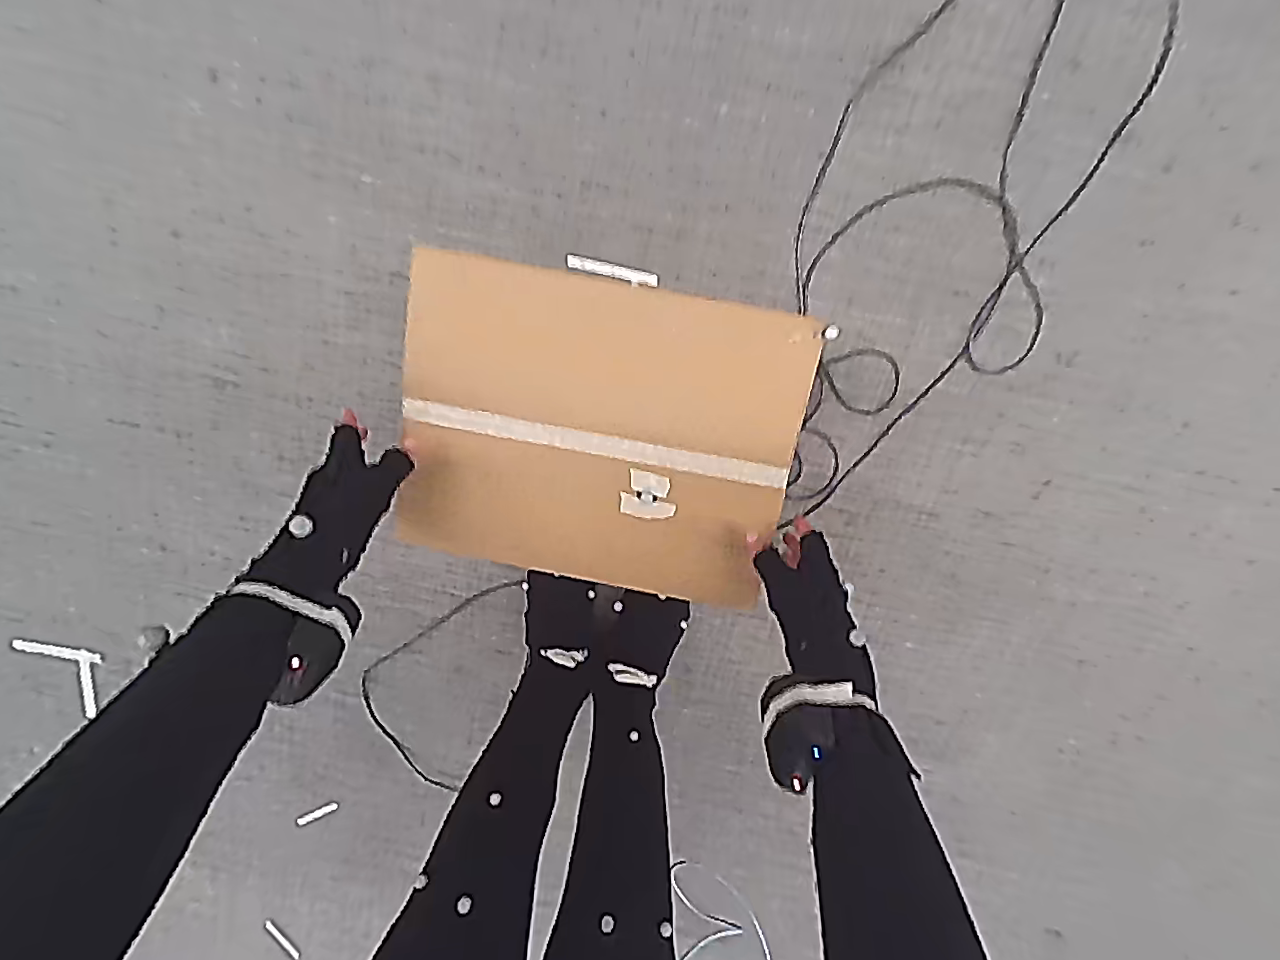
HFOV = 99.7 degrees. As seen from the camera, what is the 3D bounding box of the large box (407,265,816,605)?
[{"bbox_3d":[-0.038,-0.073,0.714,0.408,0.320,0.320,11,106,1],"label":"large box"}]
